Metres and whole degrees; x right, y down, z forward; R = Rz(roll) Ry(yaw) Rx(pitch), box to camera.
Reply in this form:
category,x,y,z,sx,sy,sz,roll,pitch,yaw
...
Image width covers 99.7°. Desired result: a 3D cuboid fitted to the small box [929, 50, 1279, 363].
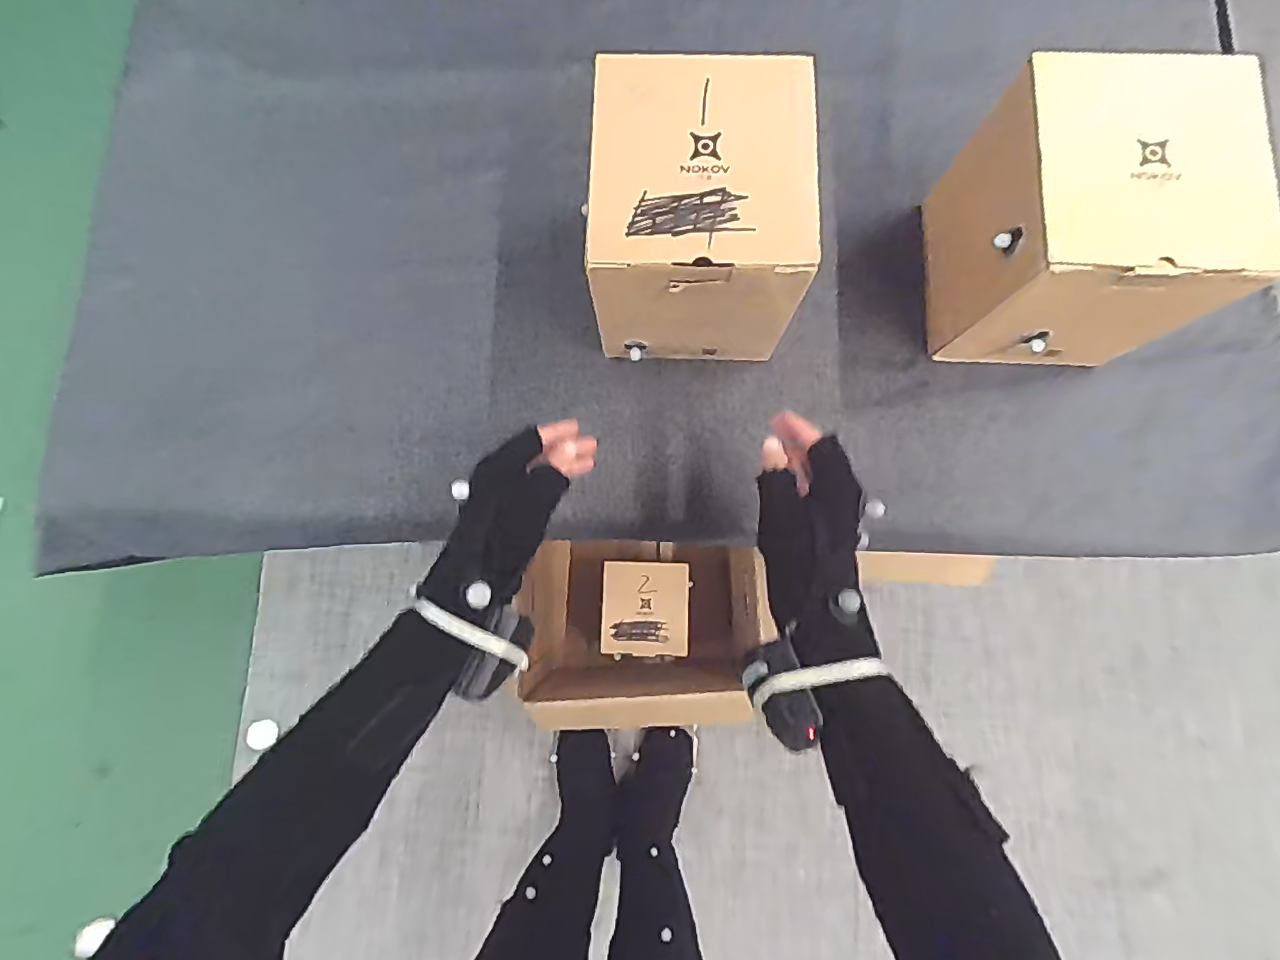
category,x,y,z,sx,sy,sz,roll,pitch,yaw
small box,0.370,-0.217,0.464,0.168,0.176,0.179,2,81,2

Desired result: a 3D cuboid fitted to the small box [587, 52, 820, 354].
category,x,y,z,sx,sy,sz,roll,pitch,yaw
small box,0.050,-0.220,0.468,0.168,0.176,0.179,2,80,1
